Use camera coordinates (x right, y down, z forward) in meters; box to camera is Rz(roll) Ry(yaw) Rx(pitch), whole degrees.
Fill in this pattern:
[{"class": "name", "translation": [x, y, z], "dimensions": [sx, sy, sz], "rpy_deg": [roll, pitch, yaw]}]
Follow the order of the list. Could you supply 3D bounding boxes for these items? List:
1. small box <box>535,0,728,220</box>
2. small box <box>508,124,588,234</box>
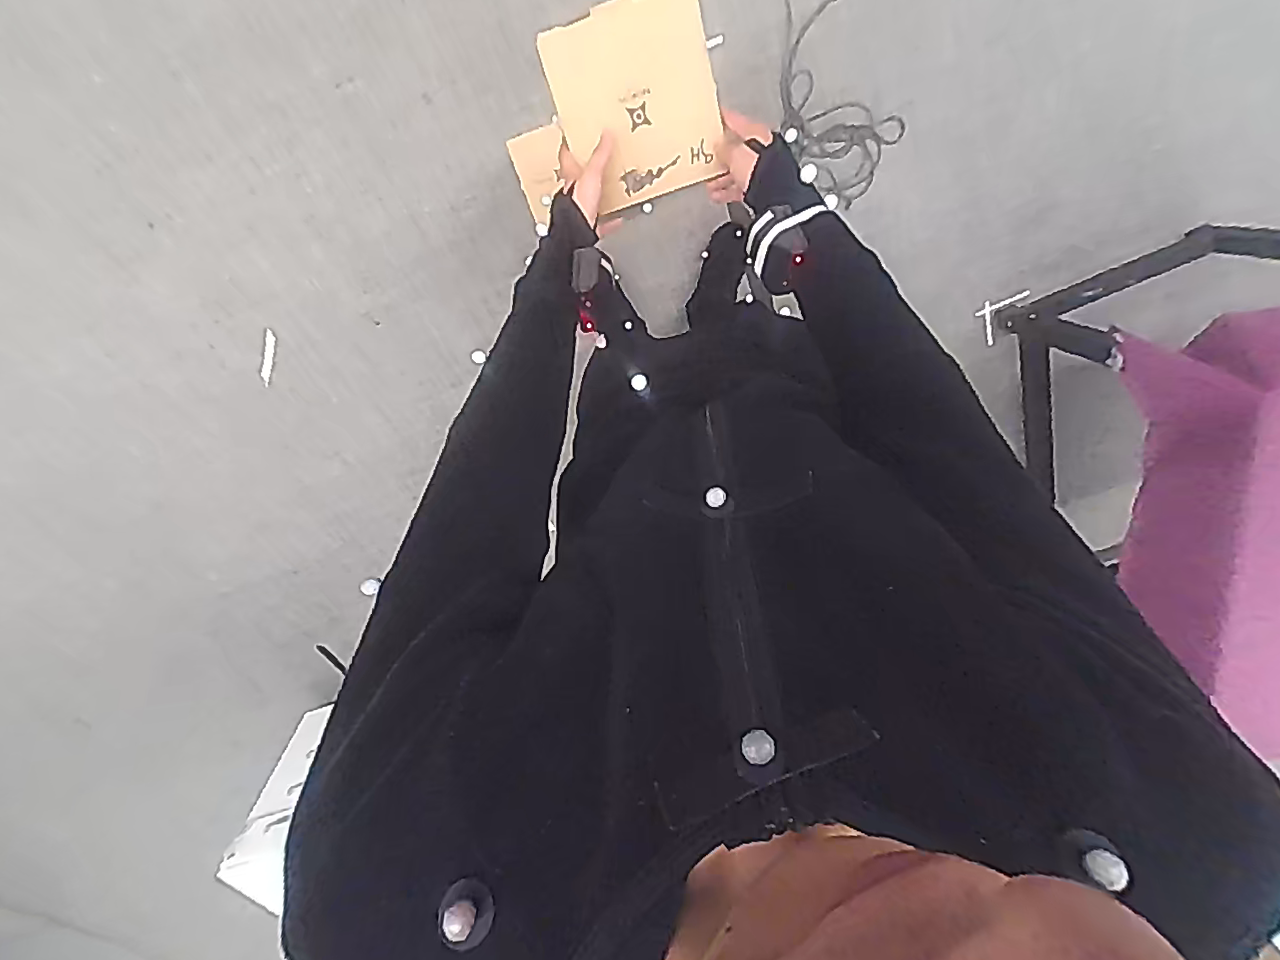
[{"class": "small box", "translation": [-0.004, -0.424, 0.632], "dimensions": [0.168, 0.176, 0.179], "rpy_deg": [-14, 118, 10]}, {"class": "small box", "translation": [-0.144, -0.621, 1.099], "dimensions": [0.179, 0.176, 0.168], "rpy_deg": [-17, 118, 7]}]
